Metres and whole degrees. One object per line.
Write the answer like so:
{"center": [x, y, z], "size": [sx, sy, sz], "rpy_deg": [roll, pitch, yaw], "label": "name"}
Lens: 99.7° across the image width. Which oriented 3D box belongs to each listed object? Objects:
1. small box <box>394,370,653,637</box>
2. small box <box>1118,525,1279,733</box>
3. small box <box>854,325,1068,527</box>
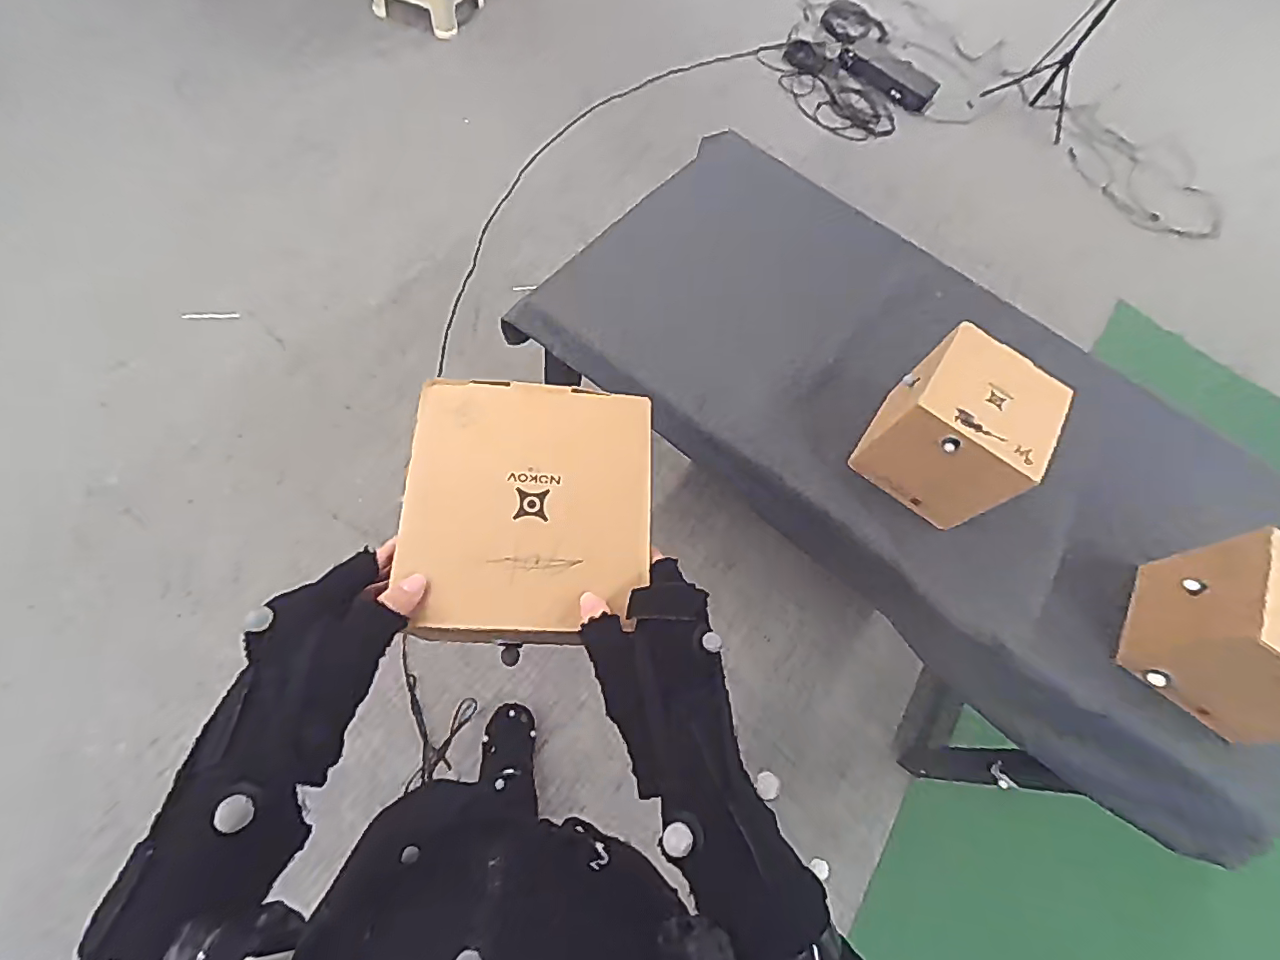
{"center": [-0.086, 0.033, 0.449], "size": [0.168, 0.176, 0.179], "rpy_deg": [4, 71, -9], "label": "small box"}
{"center": [0.759, 0.194, 0.677], "size": [0.168, 0.176, 0.179], "rpy_deg": [37, 63, 9], "label": "small box"}
{"center": [0.428, -0.068, 0.743], "size": [0.168, 0.176, 0.179], "rpy_deg": [36, 64, 8], "label": "small box"}
